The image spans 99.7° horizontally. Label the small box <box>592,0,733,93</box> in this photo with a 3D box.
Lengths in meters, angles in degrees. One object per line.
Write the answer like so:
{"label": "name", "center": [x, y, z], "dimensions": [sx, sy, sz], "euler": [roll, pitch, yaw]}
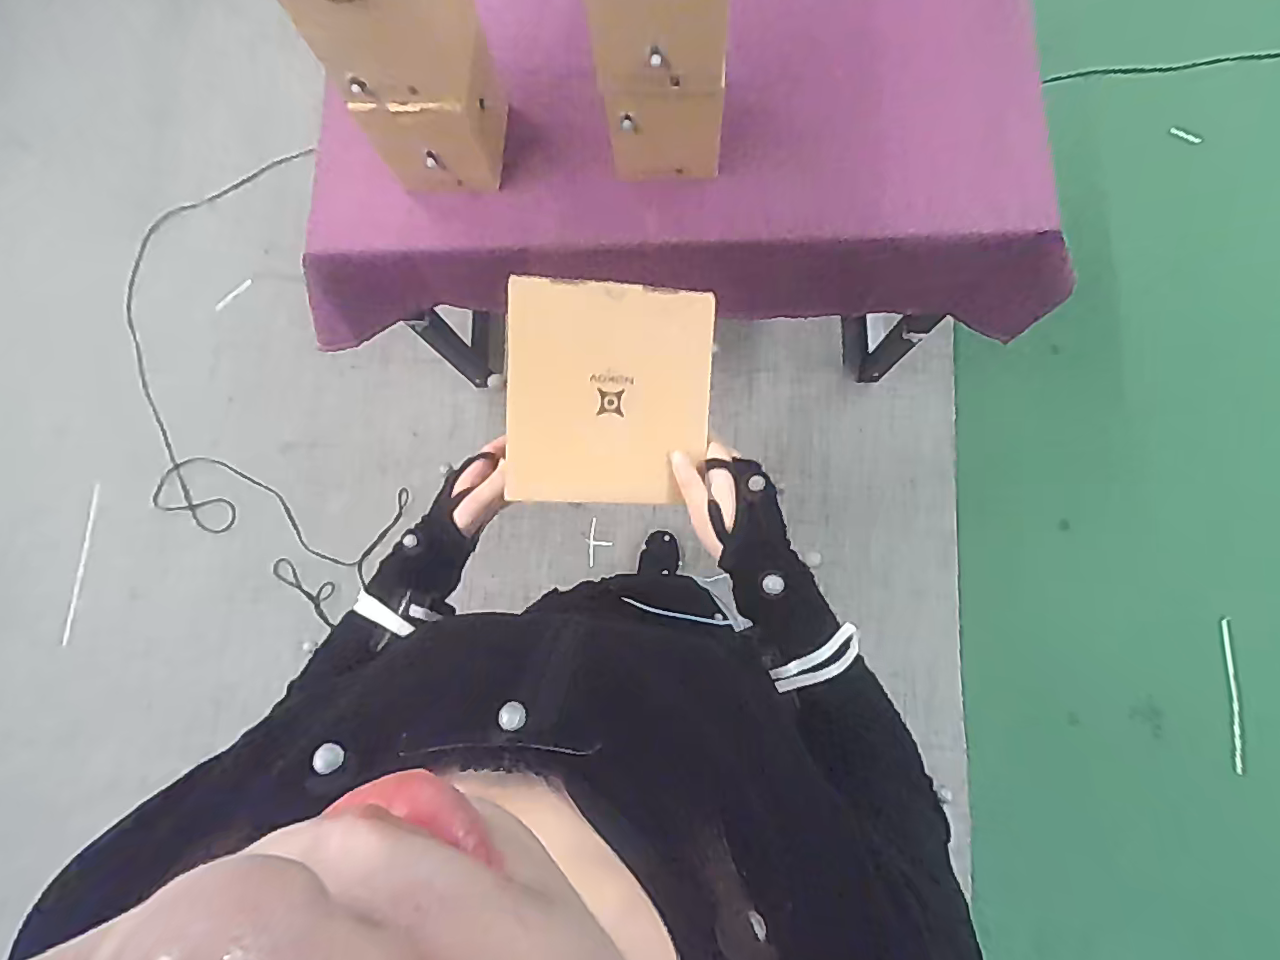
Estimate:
{"label": "small box", "center": [0.032, -0.613, 0.646], "dimensions": [0.168, 0.176, 0.179], "euler": [5, 81, 4]}

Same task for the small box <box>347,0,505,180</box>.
{"label": "small box", "center": [-0.314, -0.590, 0.827], "dimensions": [0.168, 0.176, 0.179], "euler": [3, 82, 2]}

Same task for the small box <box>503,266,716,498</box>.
{"label": "small box", "center": [-0.037, -0.084, 0.513], "dimensions": [0.168, 0.176, 0.179], "euler": [2, 96, -11]}

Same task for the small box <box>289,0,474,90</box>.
{"label": "small box", "center": [-0.318, -0.622, 0.665], "dimensions": [0.168, 0.176, 0.179], "euler": [4, 80, 3]}
